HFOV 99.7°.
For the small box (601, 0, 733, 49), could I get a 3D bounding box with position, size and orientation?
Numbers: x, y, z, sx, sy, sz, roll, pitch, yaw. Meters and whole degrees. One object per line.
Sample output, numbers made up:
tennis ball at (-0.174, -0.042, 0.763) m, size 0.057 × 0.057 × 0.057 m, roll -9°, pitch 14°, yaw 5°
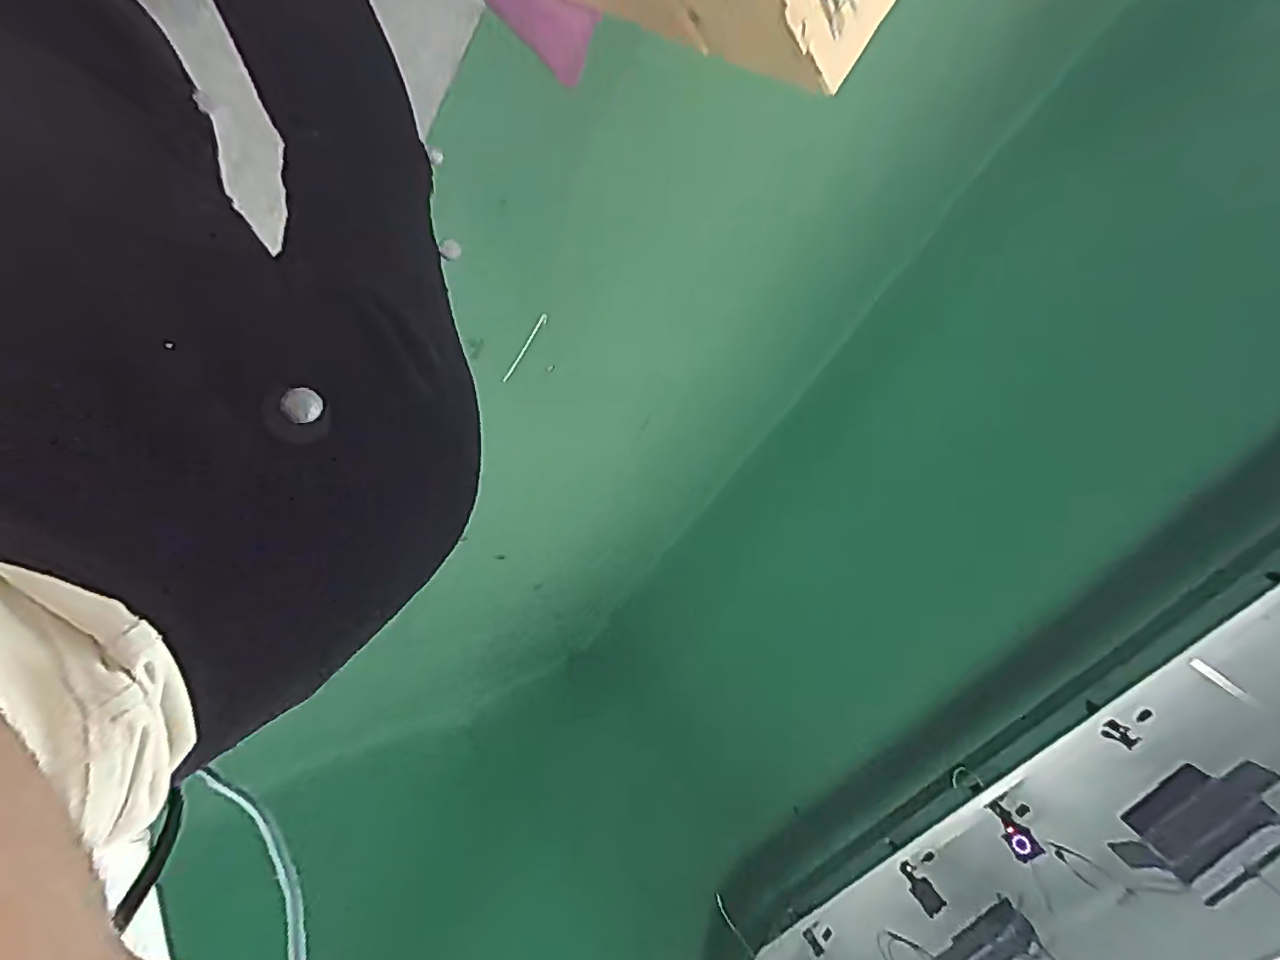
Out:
small box at (0.022, -0.583, 0.522) m, size 0.179 × 0.176 × 0.168 m, roll -52°, pitch 150°, yaw 17°
